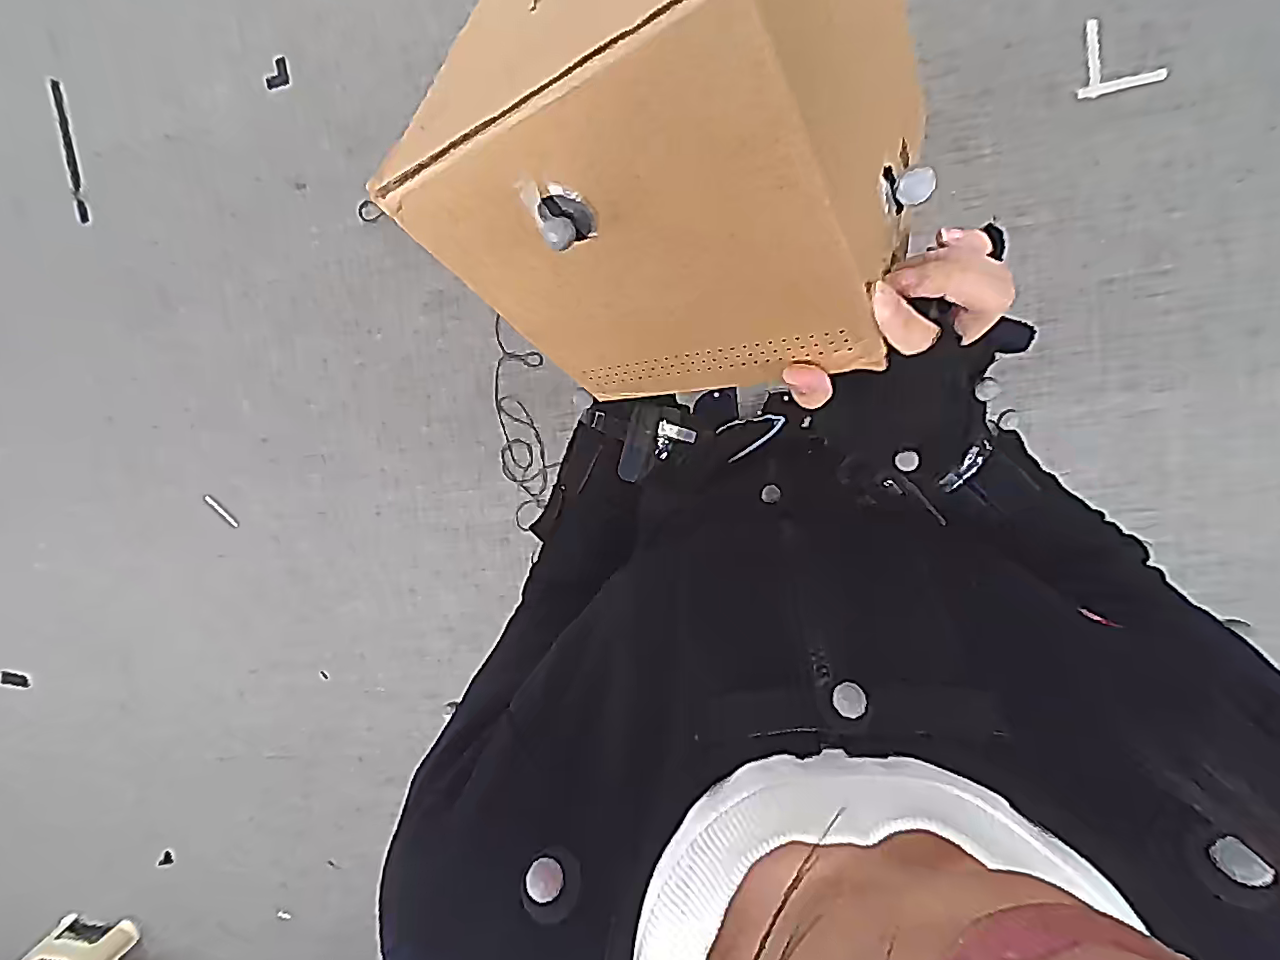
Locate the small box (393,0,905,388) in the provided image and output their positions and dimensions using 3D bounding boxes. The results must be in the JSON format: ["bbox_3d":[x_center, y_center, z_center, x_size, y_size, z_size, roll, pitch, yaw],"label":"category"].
[{"bbox_3d":[0.019,-0.161,0.279,0.179,0.176,0.168,-1,66,37],"label":"small box"}]
